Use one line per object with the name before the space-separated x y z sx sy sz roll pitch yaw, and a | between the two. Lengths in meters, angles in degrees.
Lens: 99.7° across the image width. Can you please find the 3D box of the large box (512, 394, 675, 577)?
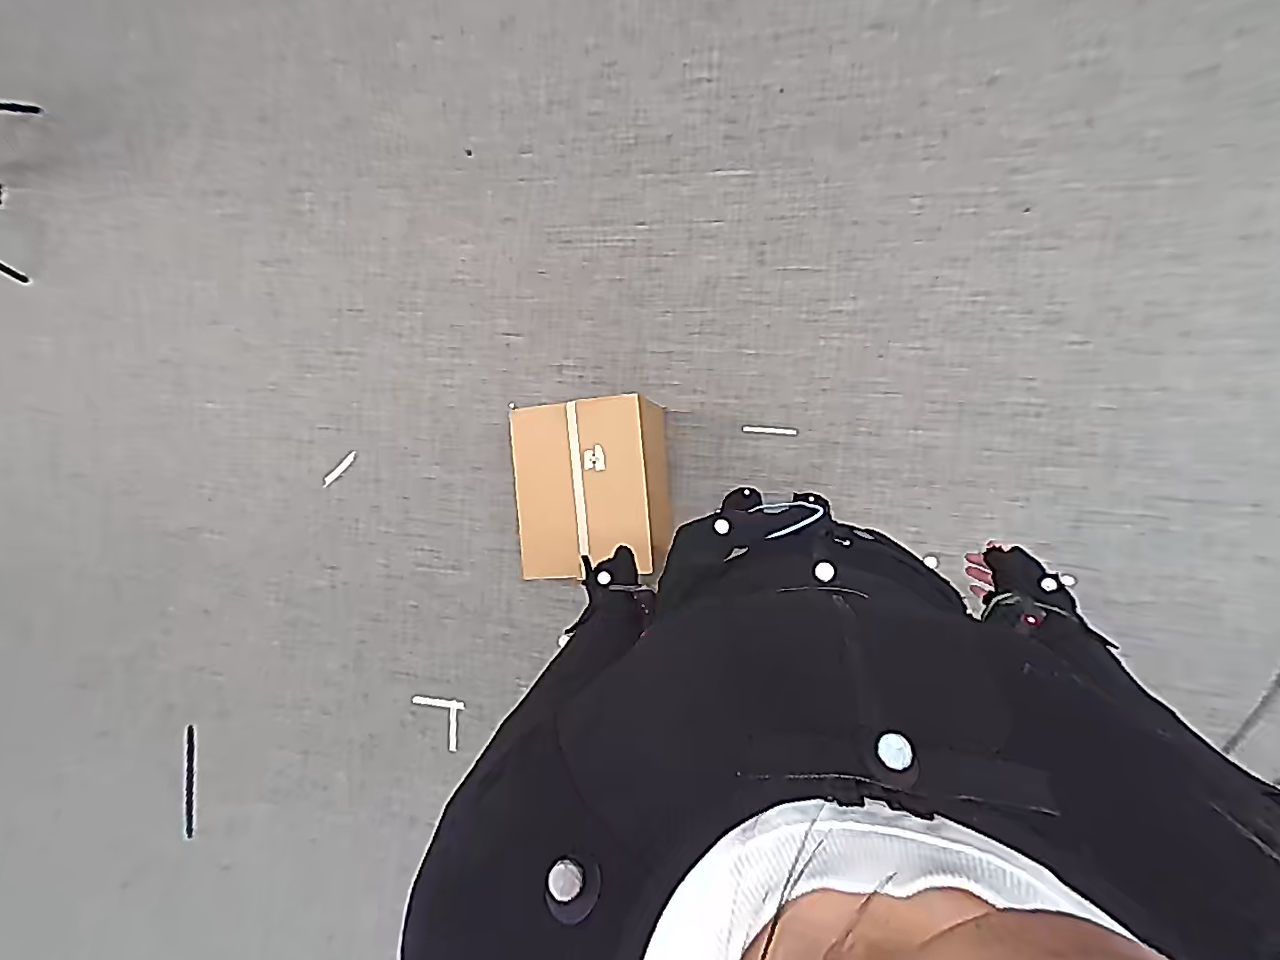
large box | -0.103 0.018 1.383 0.320 0.320 0.408 -5 89 12
